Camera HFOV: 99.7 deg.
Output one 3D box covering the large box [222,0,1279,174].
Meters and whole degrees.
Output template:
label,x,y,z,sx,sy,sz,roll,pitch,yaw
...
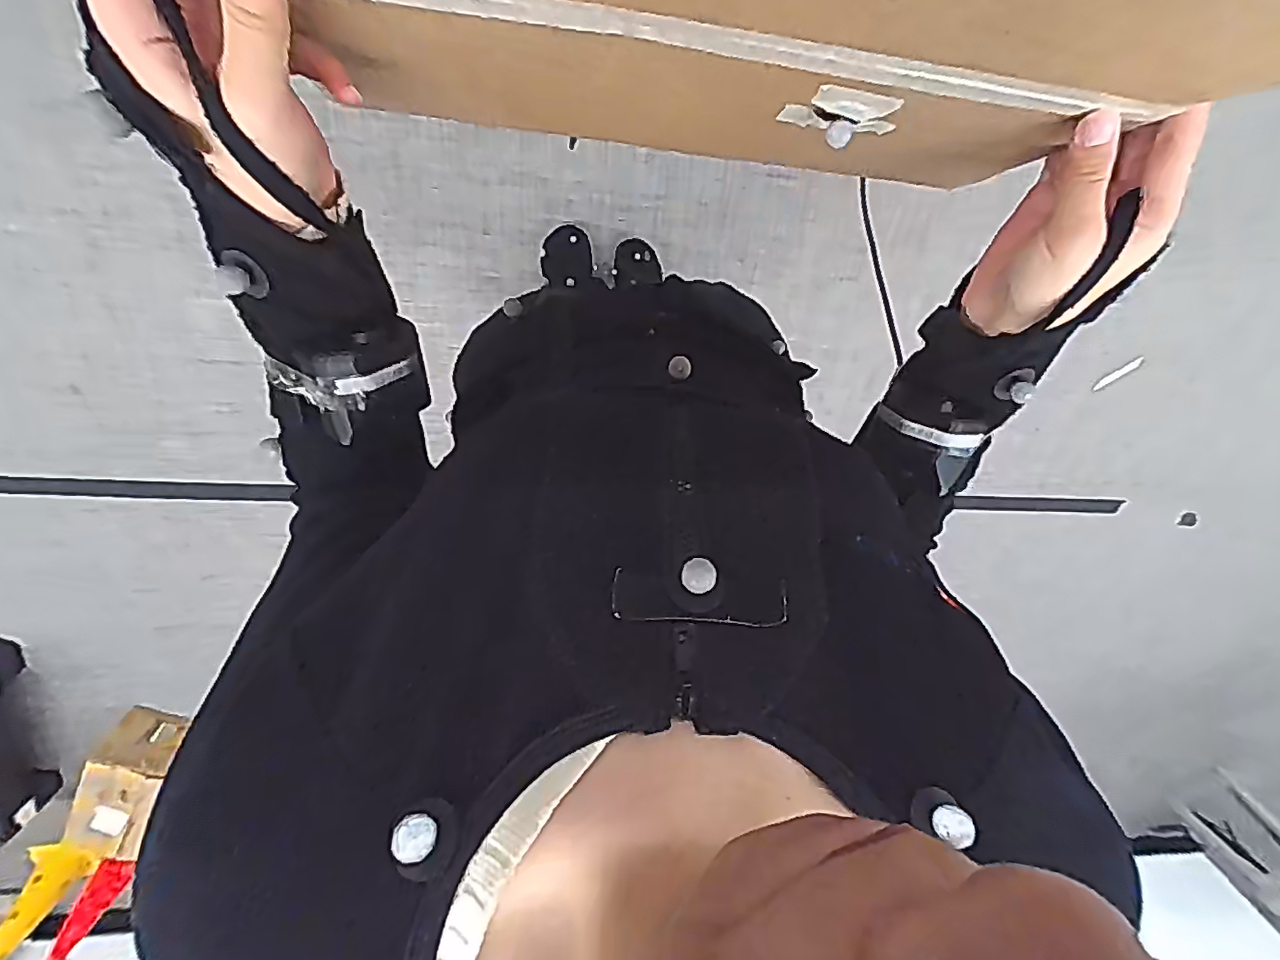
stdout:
label,x,y,z,sx,sy,sz,roll,pitch,yaw
large box,0.042,-0.323,0.169,0.408,0.320,0.320,2,107,-8
